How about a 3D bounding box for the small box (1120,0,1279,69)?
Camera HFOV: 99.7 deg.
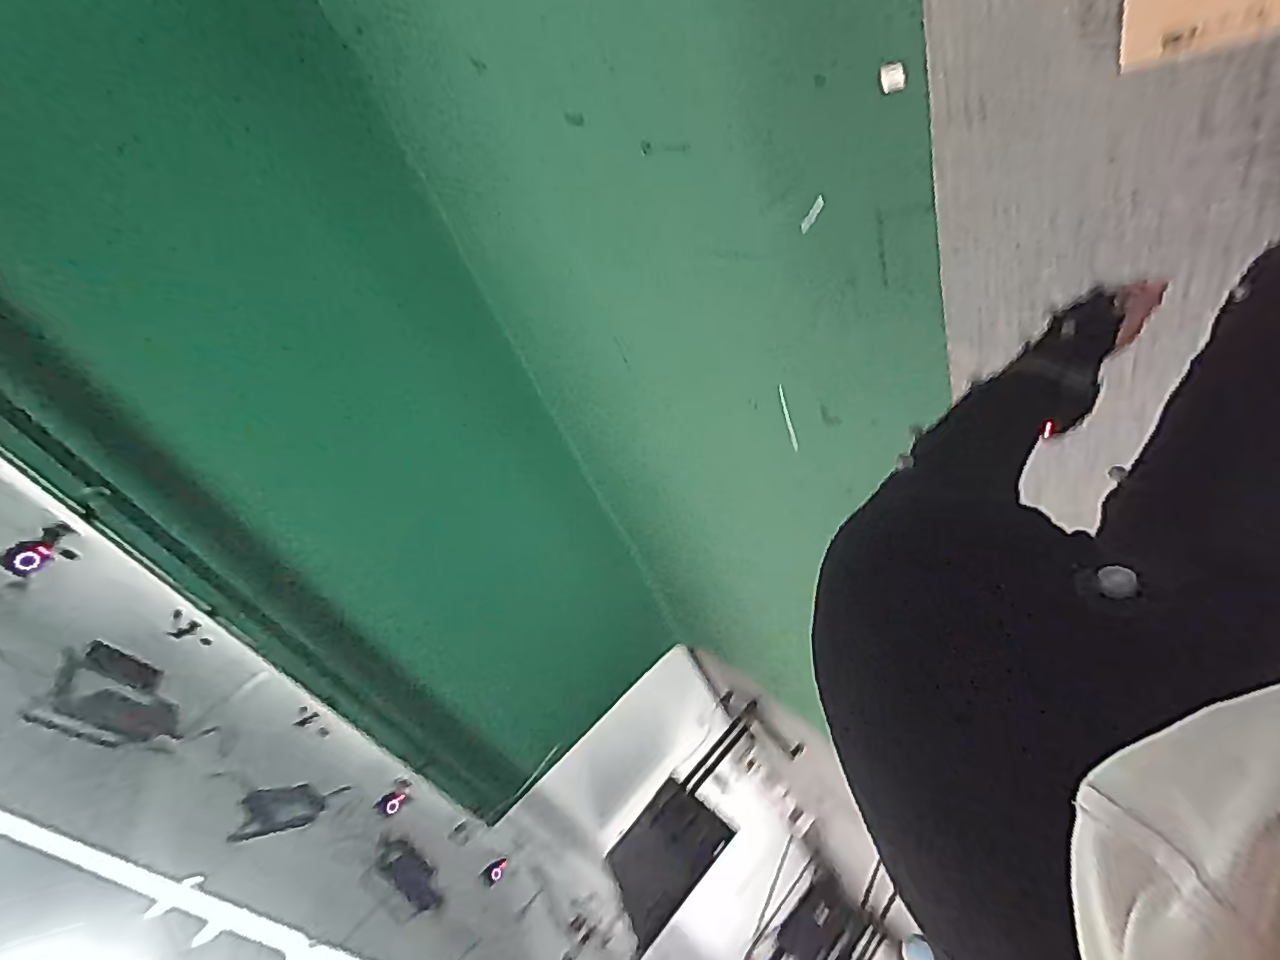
[{"bbox_3d":[0.776,-0.686,0.707,0.168,0.176,0.179,26,147,51],"label":"small box"}]
